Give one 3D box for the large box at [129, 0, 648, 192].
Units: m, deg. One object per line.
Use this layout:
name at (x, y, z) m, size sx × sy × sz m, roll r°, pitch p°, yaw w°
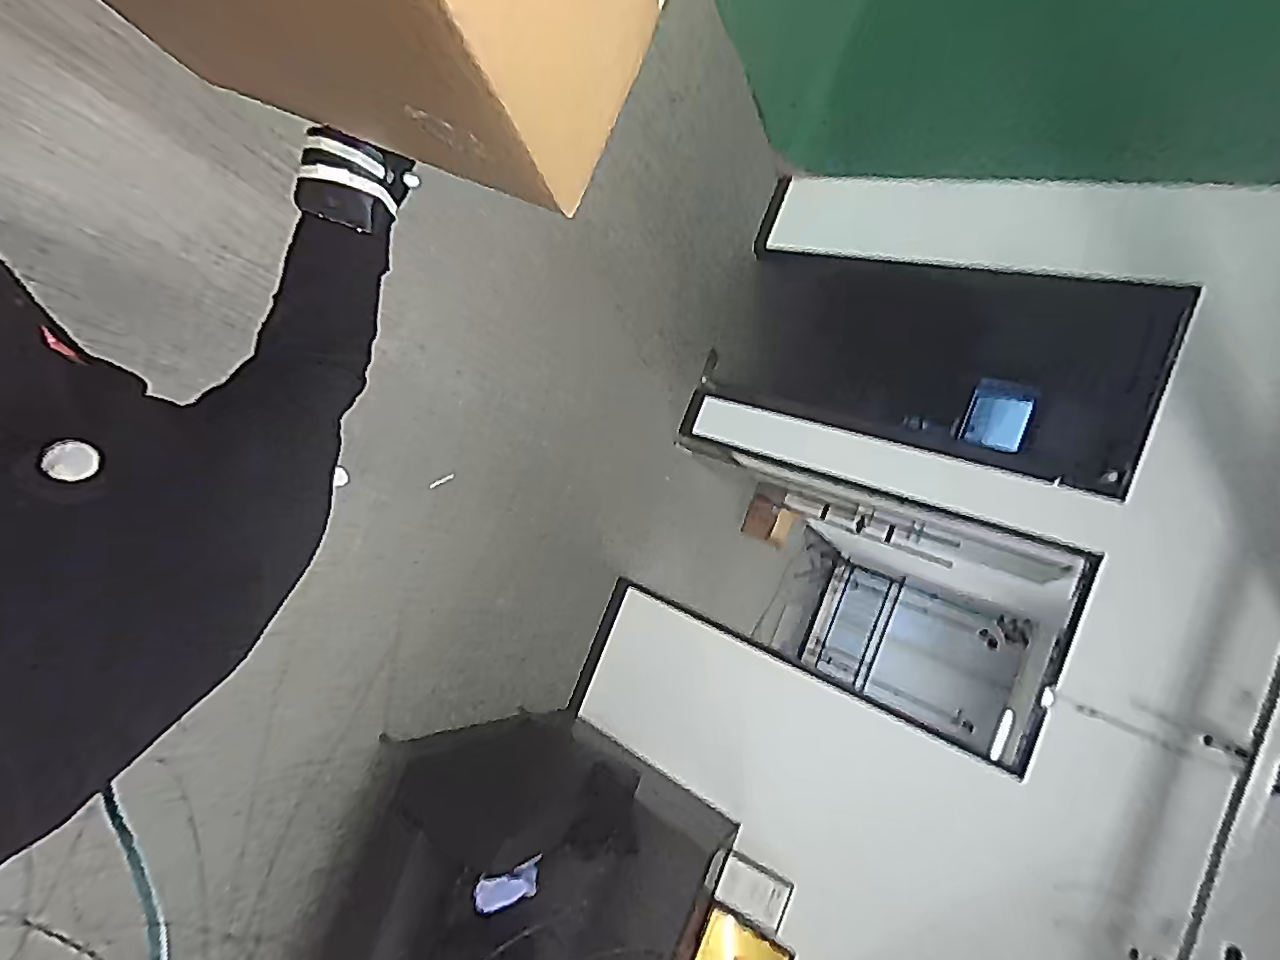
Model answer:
large box at (-0.160, -0.392, 0.190) m, size 0.408 × 0.320 × 0.320 m, roll -5°, pitch 119°, yaw -83°
